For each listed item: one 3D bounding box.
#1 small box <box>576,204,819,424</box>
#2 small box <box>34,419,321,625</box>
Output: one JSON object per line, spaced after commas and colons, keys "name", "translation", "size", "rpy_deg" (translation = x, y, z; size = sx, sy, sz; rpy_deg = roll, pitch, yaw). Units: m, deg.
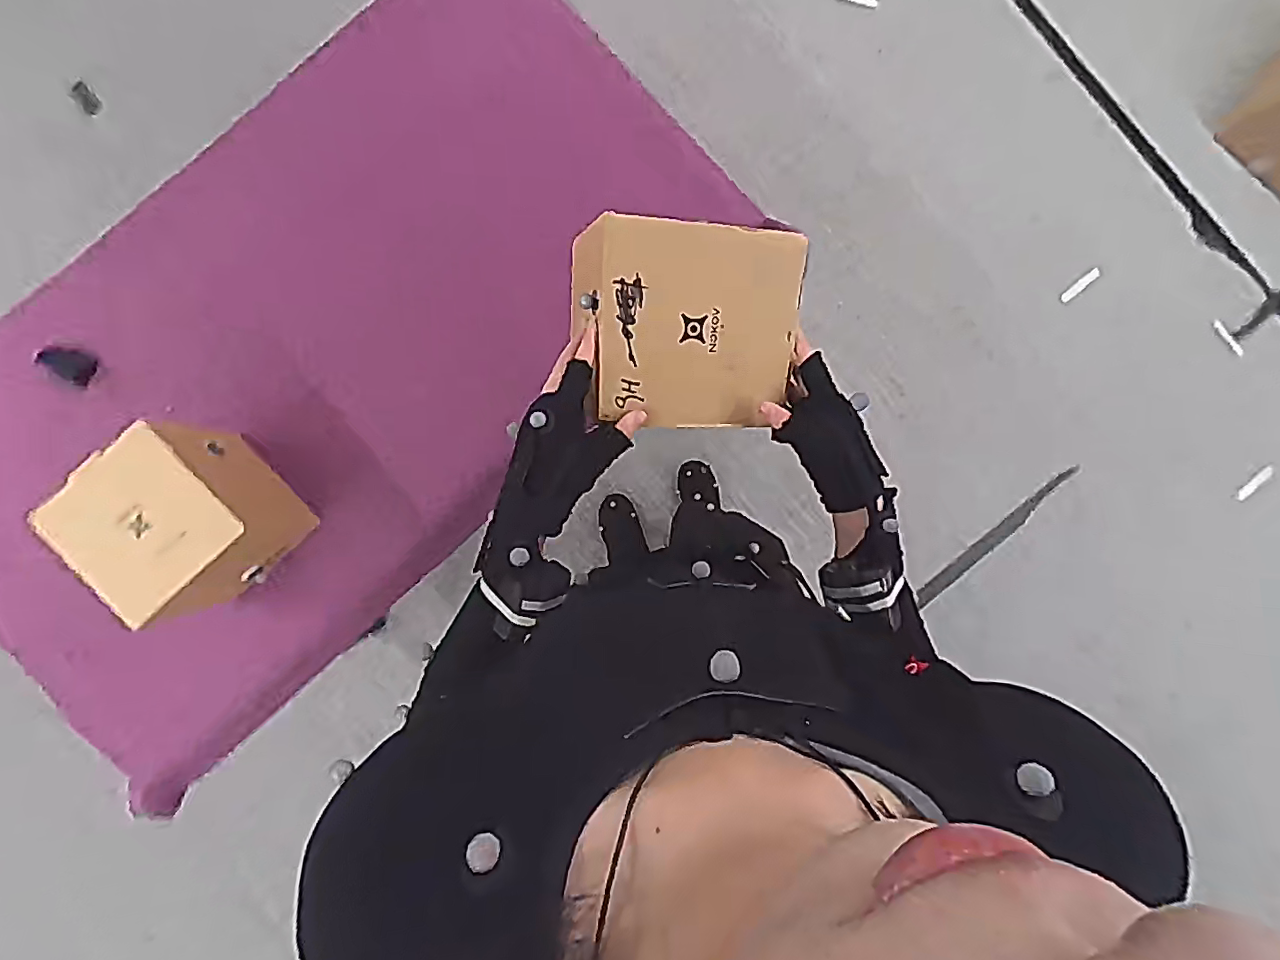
{"name": "small box", "translation": [0.040, -0.152, 0.522], "size": [0.179, 0.176, 0.168], "rpy_deg": [0, 106, -15]}
{"name": "small box", "translation": [-0.559, 0.050, 0.683], "size": [0.168, 0.176, 0.179], "rpy_deg": [-44, 91, -3]}
